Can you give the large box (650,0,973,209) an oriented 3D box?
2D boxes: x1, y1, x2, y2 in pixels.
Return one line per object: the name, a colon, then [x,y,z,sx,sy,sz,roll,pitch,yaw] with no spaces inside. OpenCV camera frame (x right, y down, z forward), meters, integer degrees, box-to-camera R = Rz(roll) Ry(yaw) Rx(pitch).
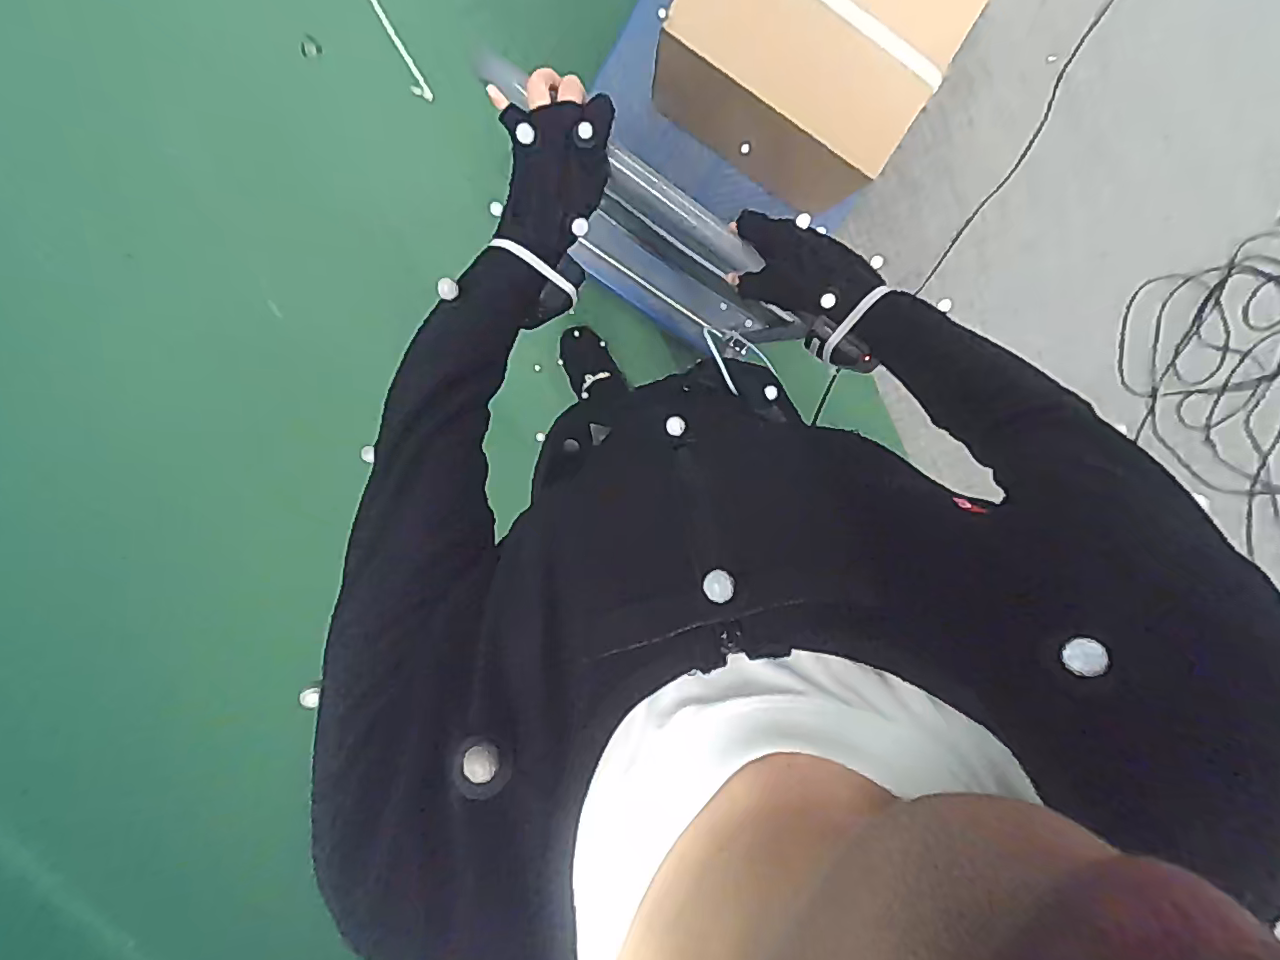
large box: [0.267,-0.749,0.947,0.408,0.320,0.320,29,102,-9]
